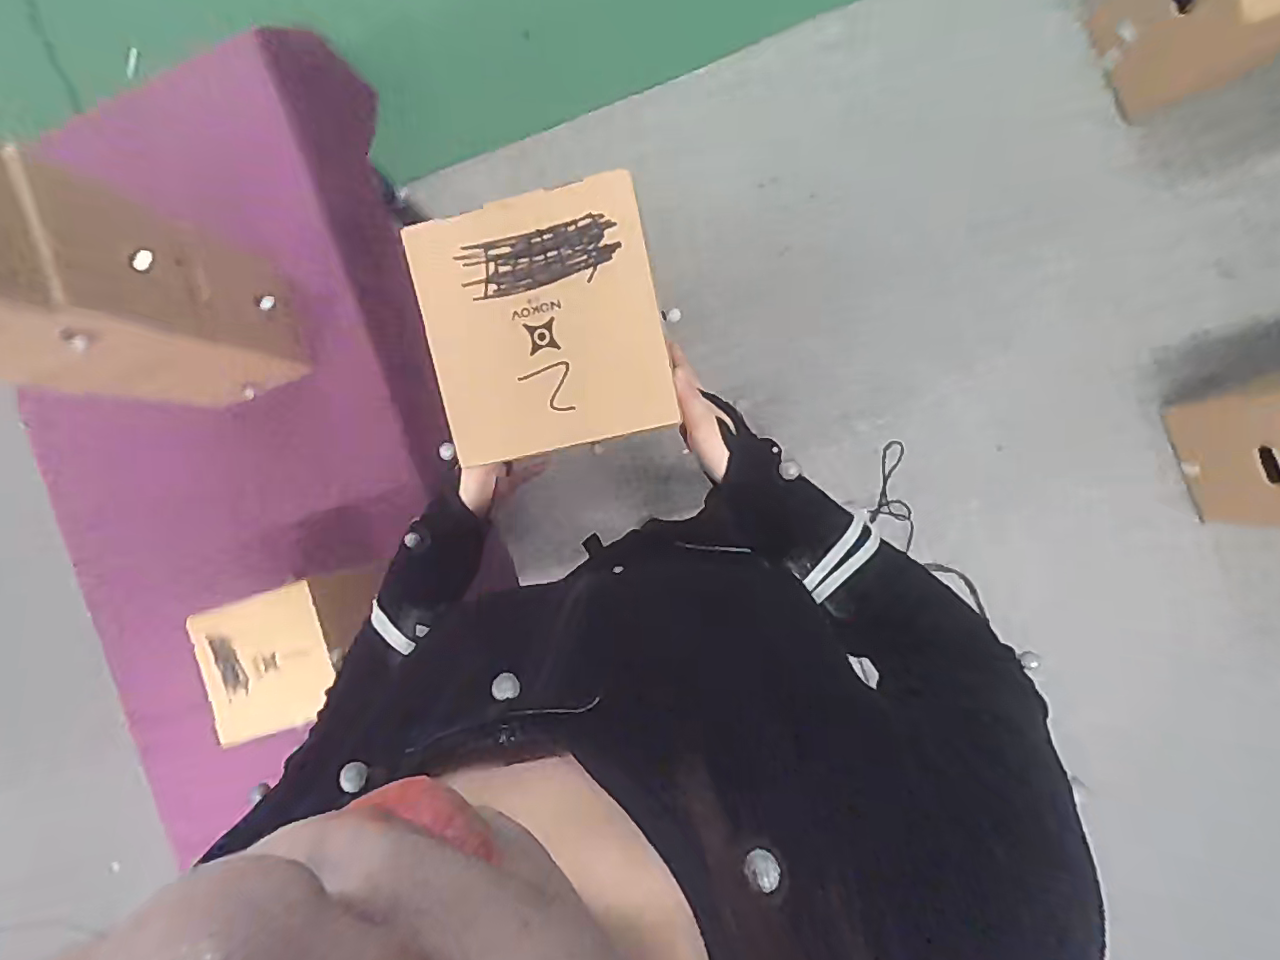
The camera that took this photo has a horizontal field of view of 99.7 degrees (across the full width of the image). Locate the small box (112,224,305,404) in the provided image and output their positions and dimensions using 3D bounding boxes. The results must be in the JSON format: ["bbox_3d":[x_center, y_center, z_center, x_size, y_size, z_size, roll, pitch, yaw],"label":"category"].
[{"bbox_3d":[-0.609,-0.218,0.757,0.179,0.176,0.168,-20,89,5],"label":"small box"}]

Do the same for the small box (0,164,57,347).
[{"bbox_3d":[-0.647,-0.202,0.431,0.168,0.176,0.179,-20,90,7],"label":"small box"}]

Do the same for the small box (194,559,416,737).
[{"bbox_3d":[-0.448,0.220,0.748,0.179,0.176,0.168,-19,89,5],"label":"small box"}]

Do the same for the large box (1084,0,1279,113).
[{"bbox_3d":[1.343,-1.128,1.204,0.408,0.320,0.320,-19,89,5],"label":"large box"}]

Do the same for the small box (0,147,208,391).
[{"bbox_3d":[-0.625,-0.211,0.593,0.179,0.176,0.168,-20,89,6],"label":"small box"}]
